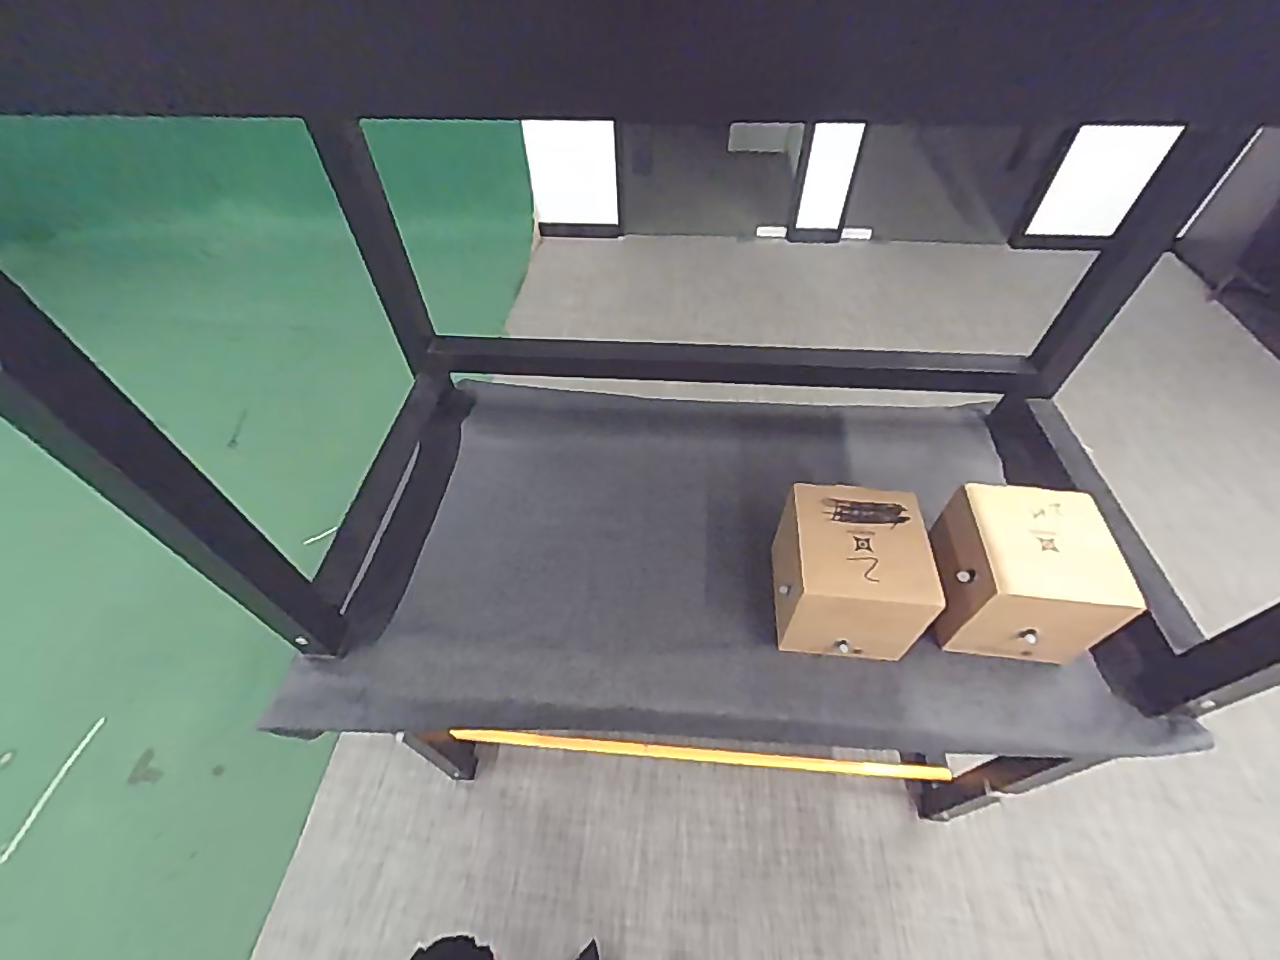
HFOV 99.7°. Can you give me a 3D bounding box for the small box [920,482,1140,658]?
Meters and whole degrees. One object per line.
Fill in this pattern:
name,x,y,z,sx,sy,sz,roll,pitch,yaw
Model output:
small box,0.514,0.127,0.748,0.168,0.176,0.179,6,50,6
